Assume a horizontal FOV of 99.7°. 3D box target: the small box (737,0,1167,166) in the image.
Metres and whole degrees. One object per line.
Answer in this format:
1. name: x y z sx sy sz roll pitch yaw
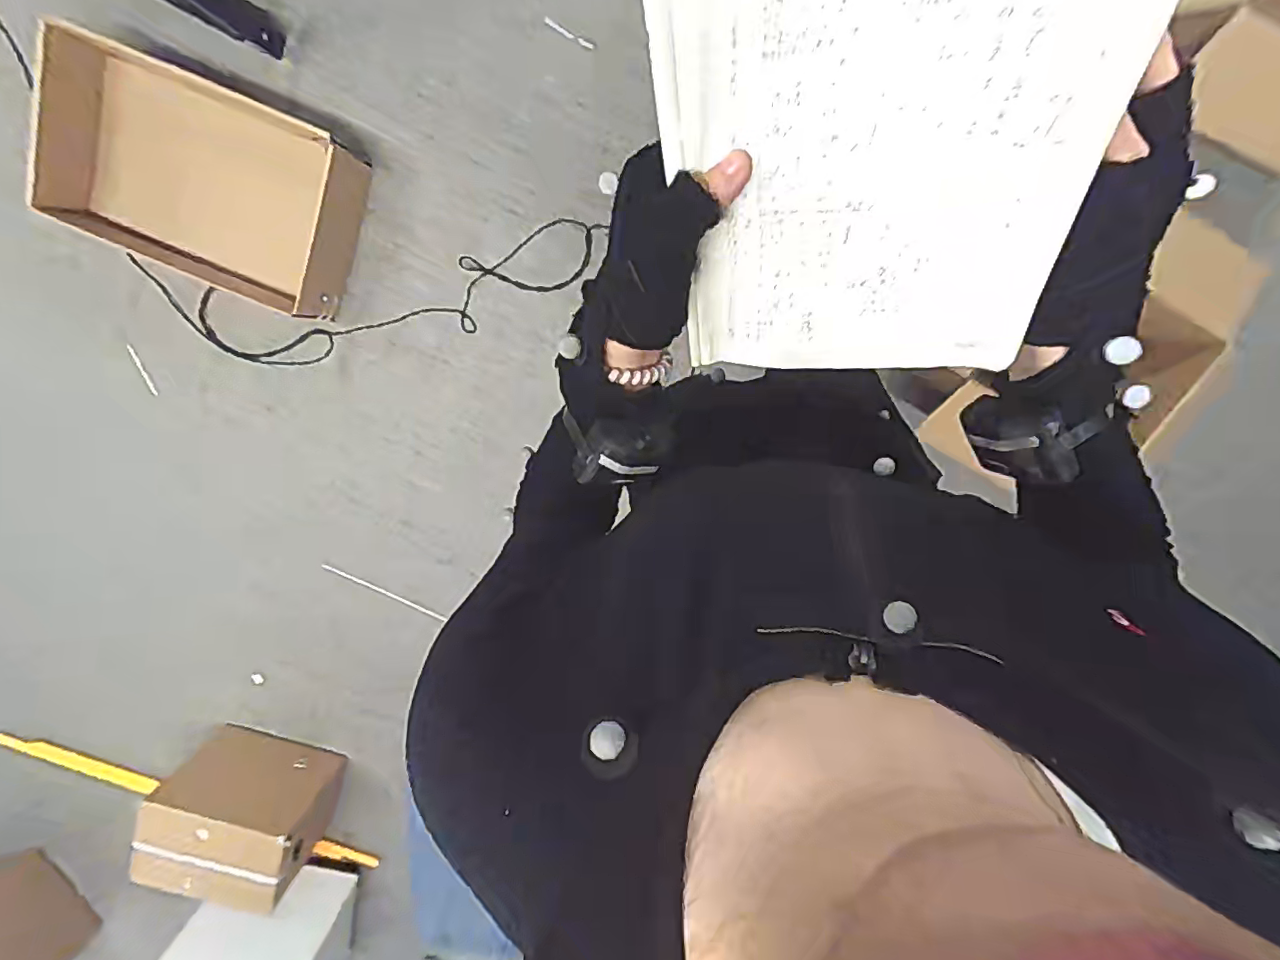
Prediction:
1. small box: 0.146 -0.272 0.288 0.179 0.176 0.168 3 127 6
